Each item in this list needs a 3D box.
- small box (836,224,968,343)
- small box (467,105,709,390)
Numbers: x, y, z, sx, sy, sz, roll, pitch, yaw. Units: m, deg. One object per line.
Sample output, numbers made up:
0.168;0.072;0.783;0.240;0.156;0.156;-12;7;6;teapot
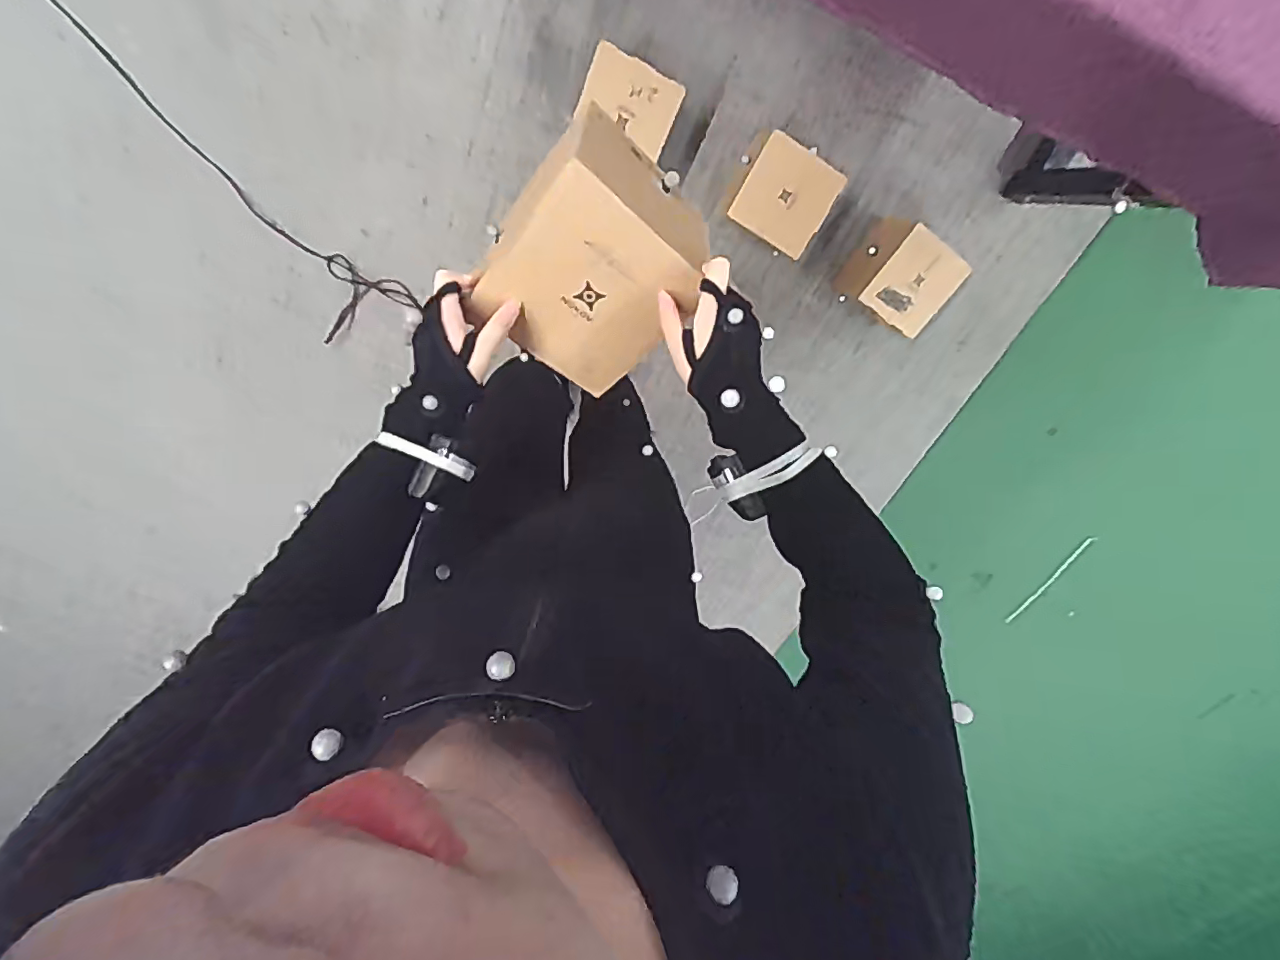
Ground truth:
0.558;-0.435;1.188;0.168;0.176;0.179;30;113;-17;small box
-0.047;-0.235;0.560;0.168;0.176;0.179;32;130;-30;small box
